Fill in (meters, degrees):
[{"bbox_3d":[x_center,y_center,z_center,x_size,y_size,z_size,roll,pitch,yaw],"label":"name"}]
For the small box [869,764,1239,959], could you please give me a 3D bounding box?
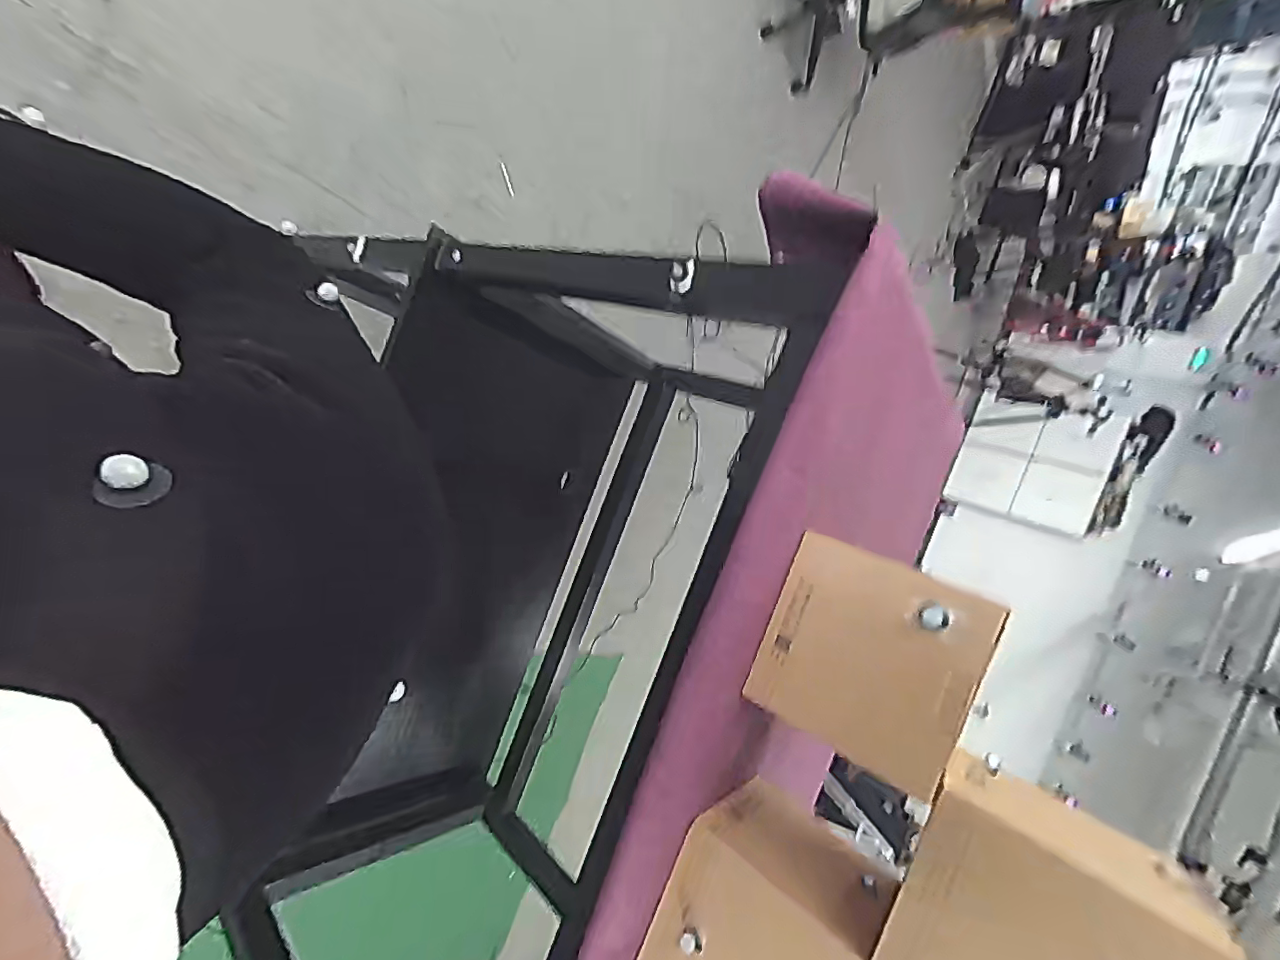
[{"bbox_3d":[0.298,0.354,0.425,0.168,0.176,0.179,23,90,-54],"label":"small box"}]
